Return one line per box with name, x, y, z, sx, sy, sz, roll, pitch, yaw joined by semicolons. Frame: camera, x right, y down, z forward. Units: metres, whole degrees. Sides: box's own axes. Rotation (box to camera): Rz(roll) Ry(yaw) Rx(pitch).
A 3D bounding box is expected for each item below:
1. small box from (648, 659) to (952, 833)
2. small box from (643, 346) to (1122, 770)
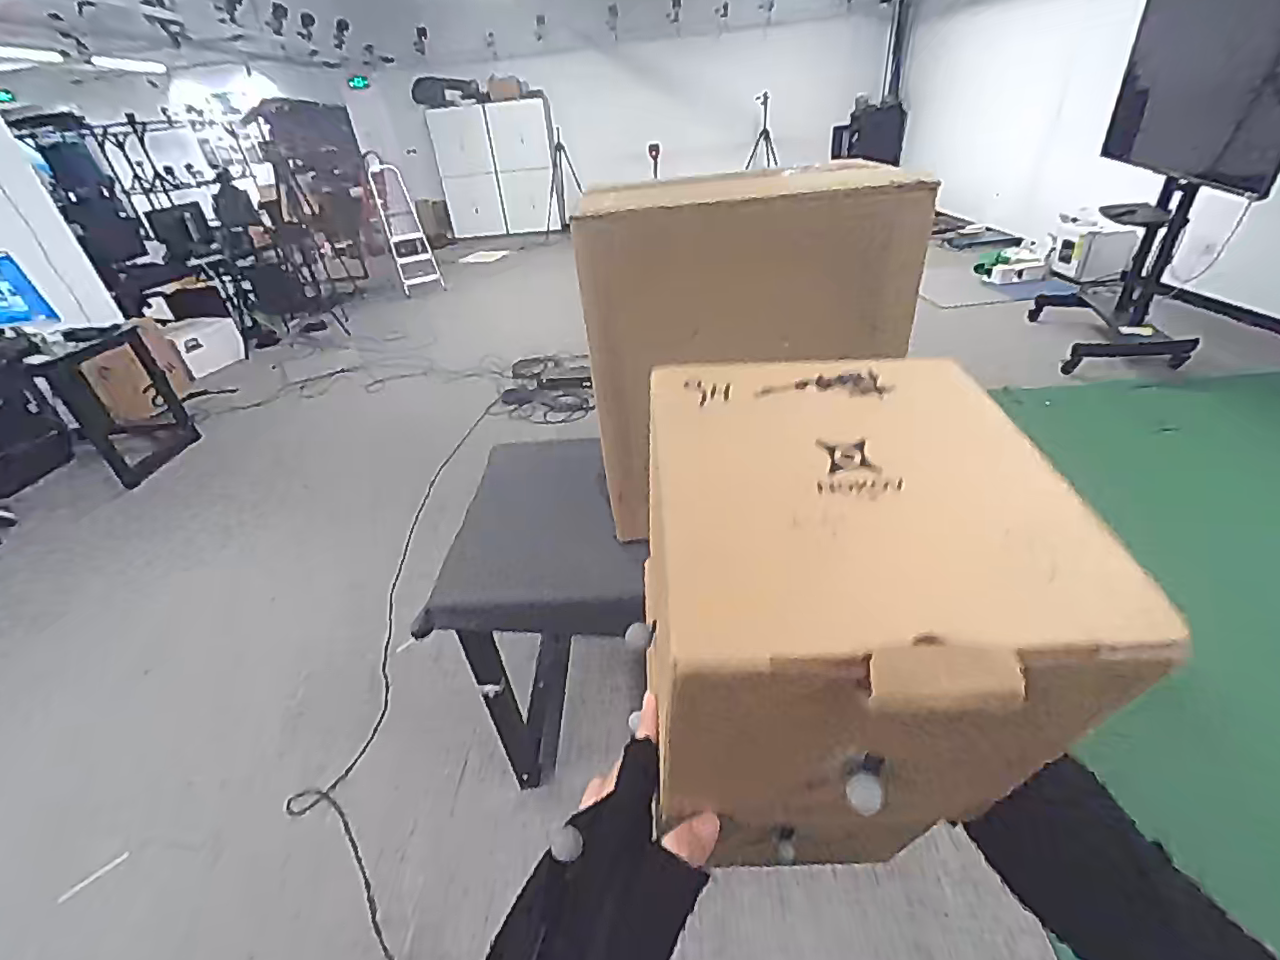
small box;0.095;0.158;0.419;0.179;0.176;0.168;-3;44;1
small box;0.087;0.047;0.300;0.168;0.176;0.179;-2;45;1
